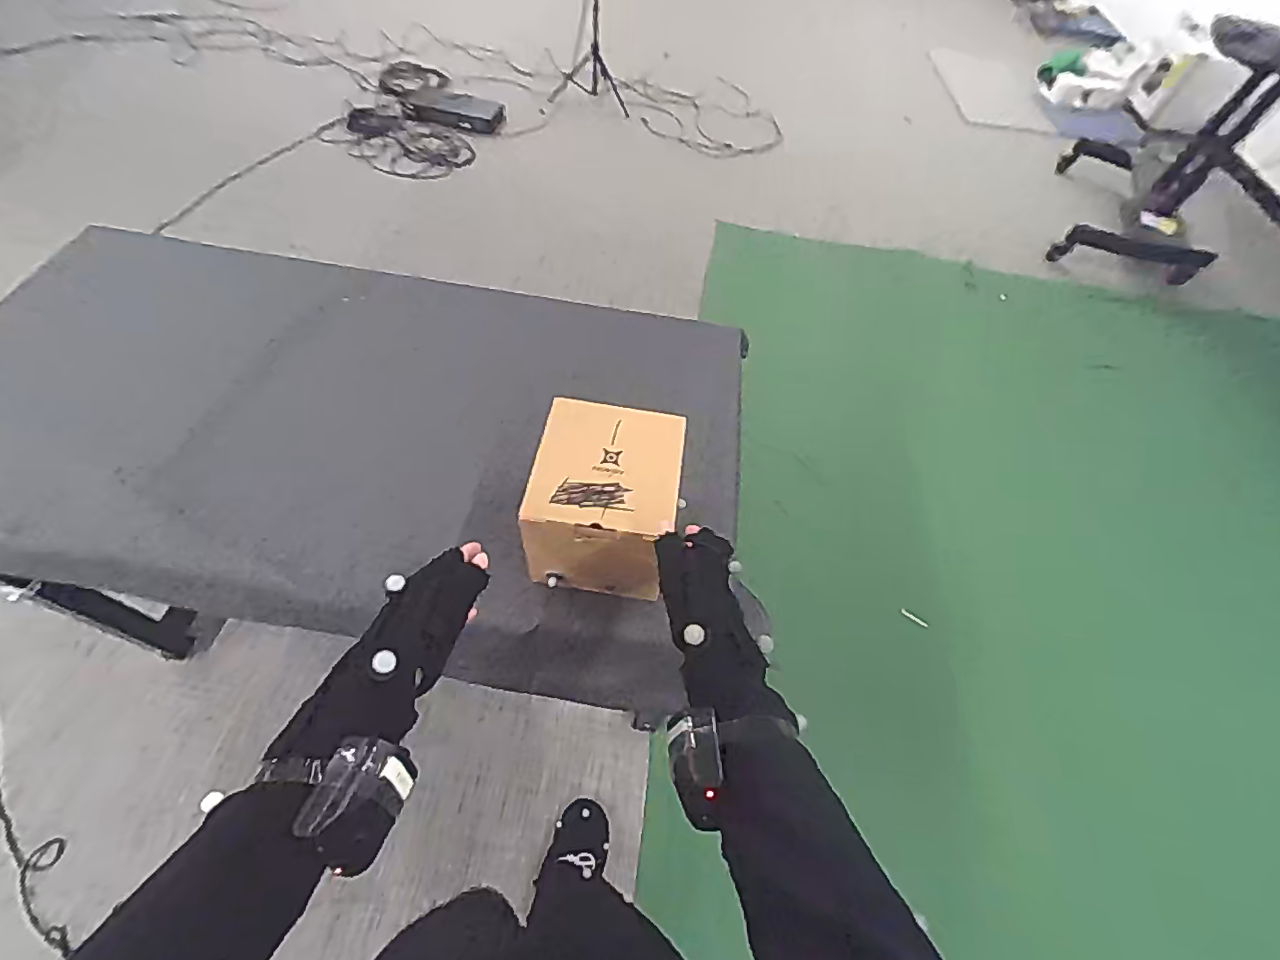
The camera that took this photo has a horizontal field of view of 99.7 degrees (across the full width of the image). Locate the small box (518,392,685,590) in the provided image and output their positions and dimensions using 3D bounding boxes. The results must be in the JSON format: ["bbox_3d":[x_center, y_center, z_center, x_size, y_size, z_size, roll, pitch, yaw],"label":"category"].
[{"bbox_3d":[-0.043,0.020,0.677,0.168,0.176,0.179,9,55,0],"label":"small box"}]
